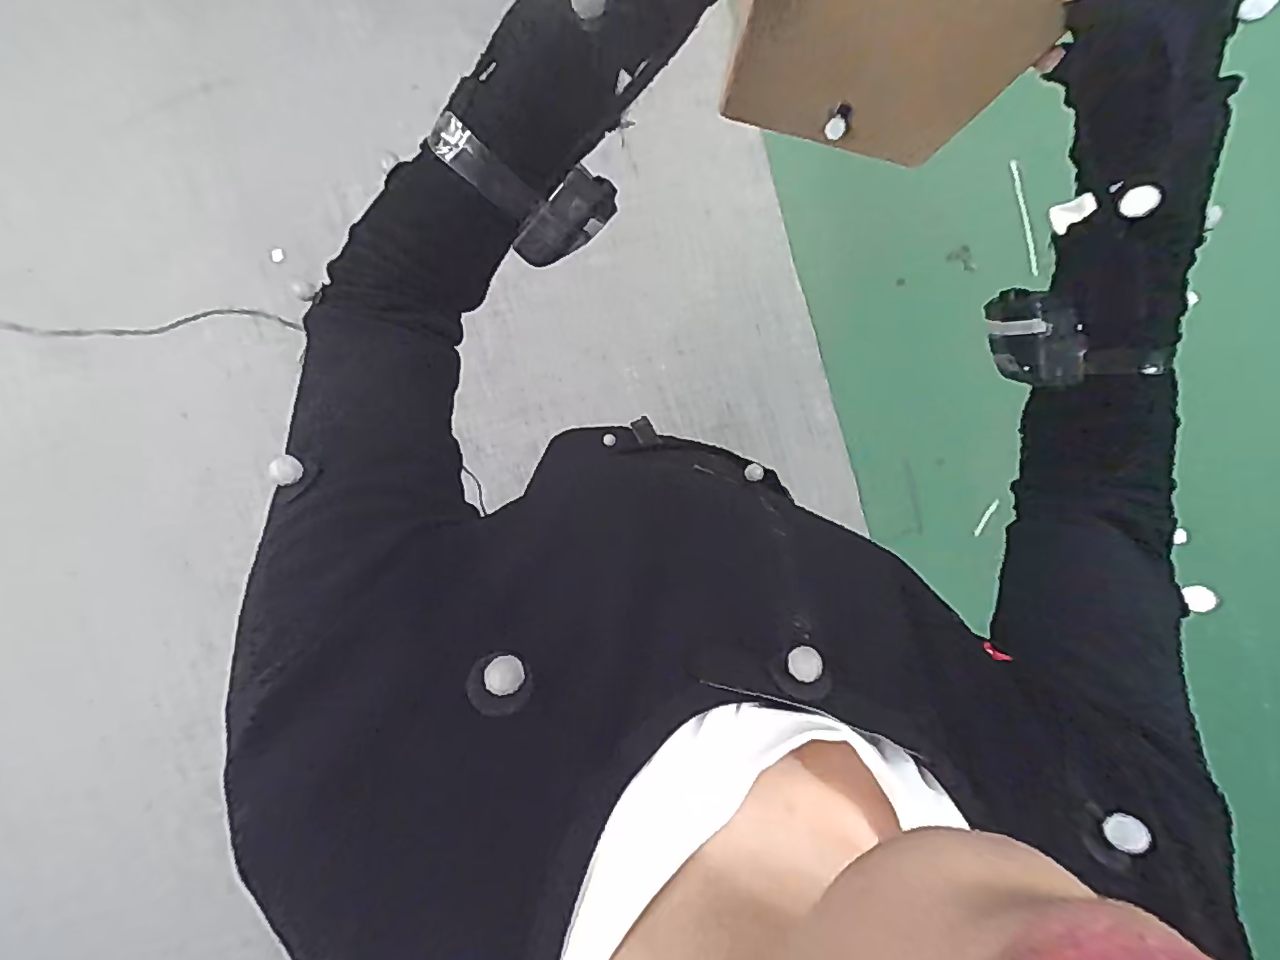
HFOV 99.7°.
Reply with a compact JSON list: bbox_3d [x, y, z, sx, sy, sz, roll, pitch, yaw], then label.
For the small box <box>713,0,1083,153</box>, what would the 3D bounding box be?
[{"bbox_3d":[0.163,-0.354,0.357,0.179,0.176,0.168,11,90,-5],"label":"small box"}]
